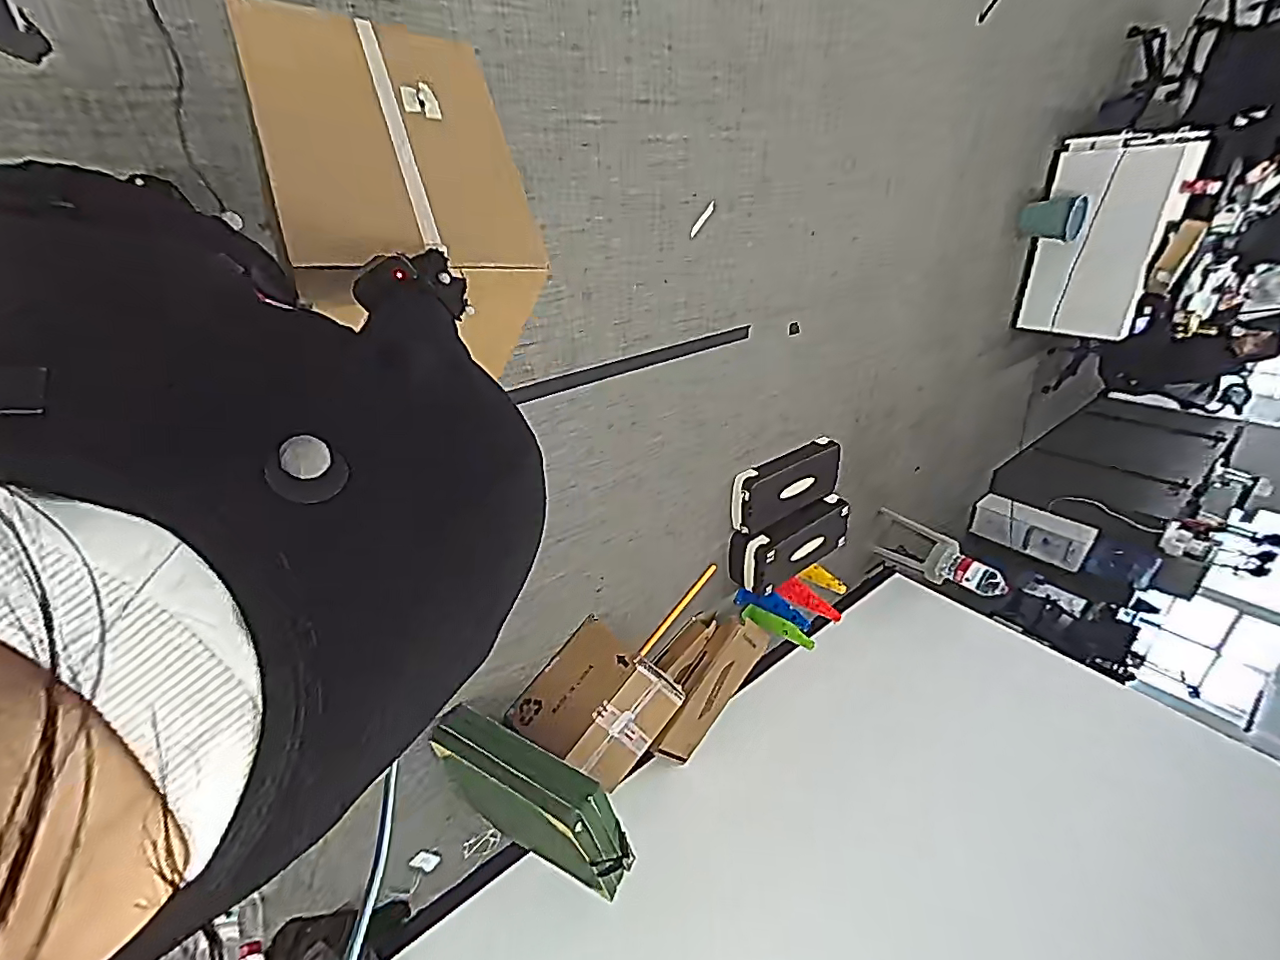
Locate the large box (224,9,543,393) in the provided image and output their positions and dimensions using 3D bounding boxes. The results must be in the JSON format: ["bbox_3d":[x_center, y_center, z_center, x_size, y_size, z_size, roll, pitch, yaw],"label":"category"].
[{"bbox_3d":[-0.397,-0.399,0.852,0.320,0.320,0.408,-14,78,-33],"label":"large box"}]
